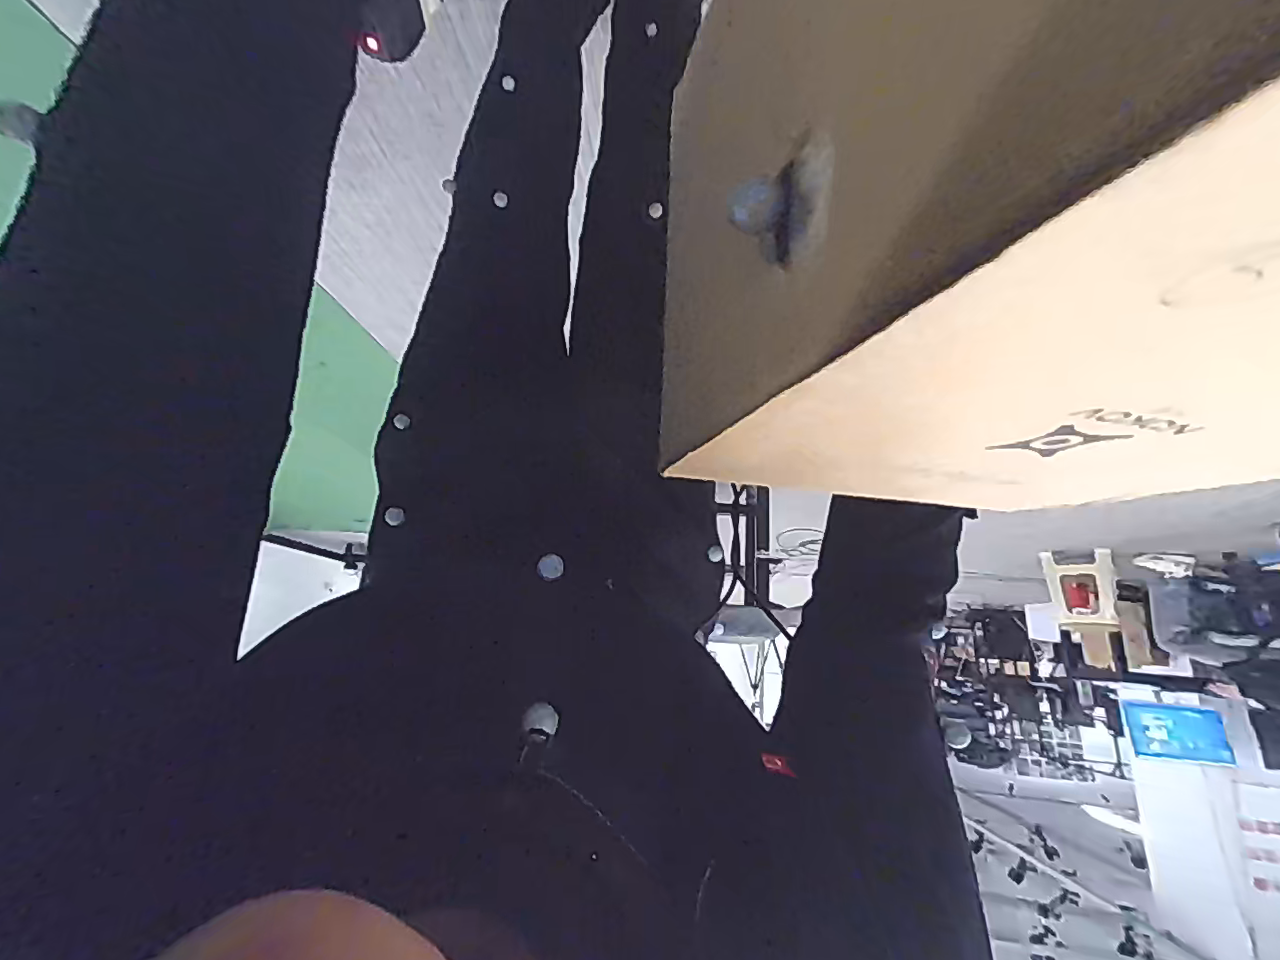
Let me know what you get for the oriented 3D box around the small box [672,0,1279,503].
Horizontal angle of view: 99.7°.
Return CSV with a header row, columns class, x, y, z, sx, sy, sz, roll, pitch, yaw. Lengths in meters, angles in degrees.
class,x,y,z,sx,sy,sz,roll,pitch,yaw
small box,0.114,-0.093,0.155,0.168,0.176,0.179,6,169,-15
